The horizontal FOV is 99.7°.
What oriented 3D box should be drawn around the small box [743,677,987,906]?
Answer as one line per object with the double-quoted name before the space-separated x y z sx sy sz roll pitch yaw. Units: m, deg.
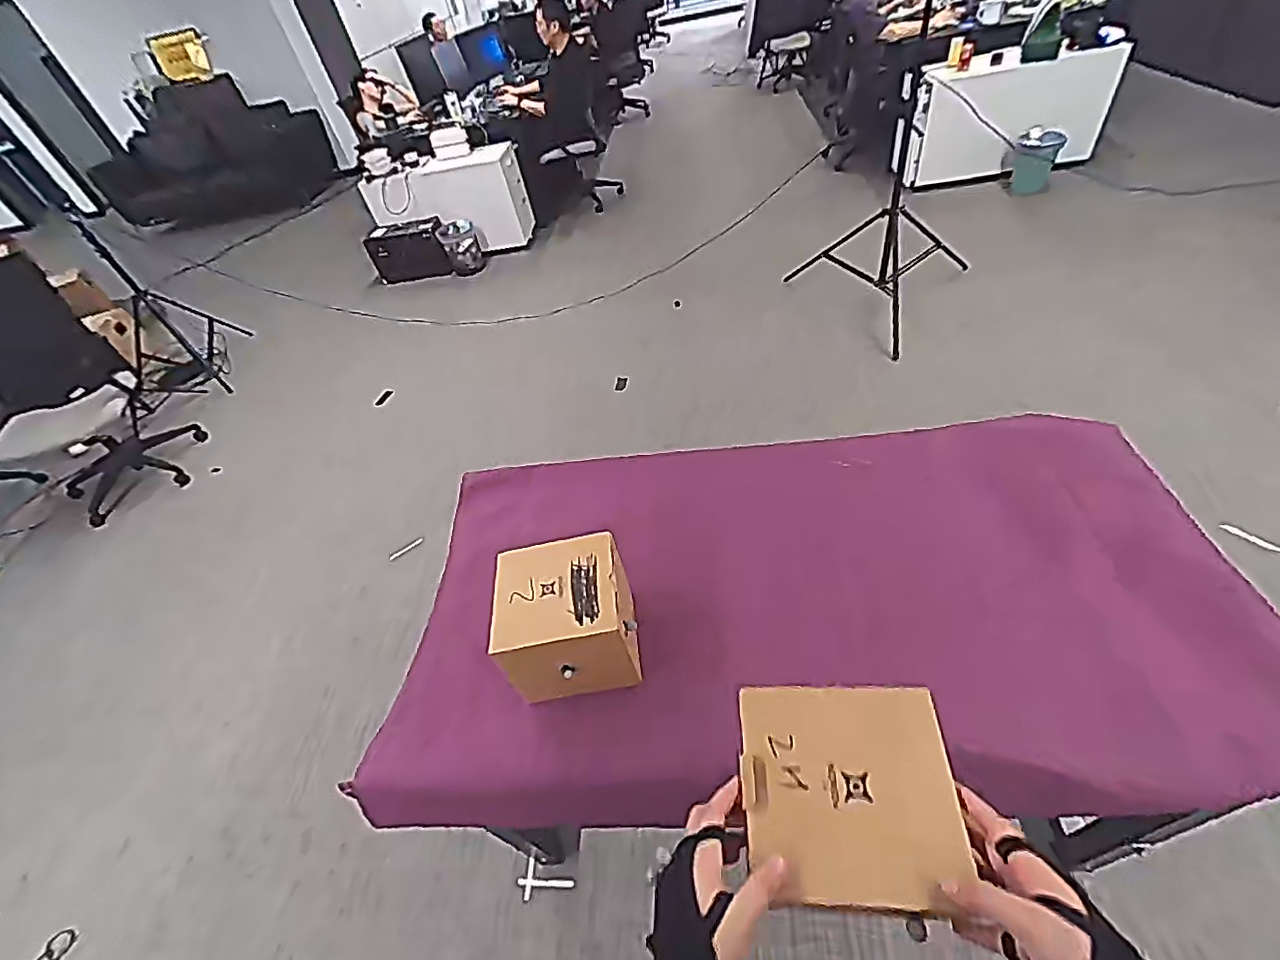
"small box" 0.194 0.302 0.524 0.179 0.176 0.168 -5 50 12
